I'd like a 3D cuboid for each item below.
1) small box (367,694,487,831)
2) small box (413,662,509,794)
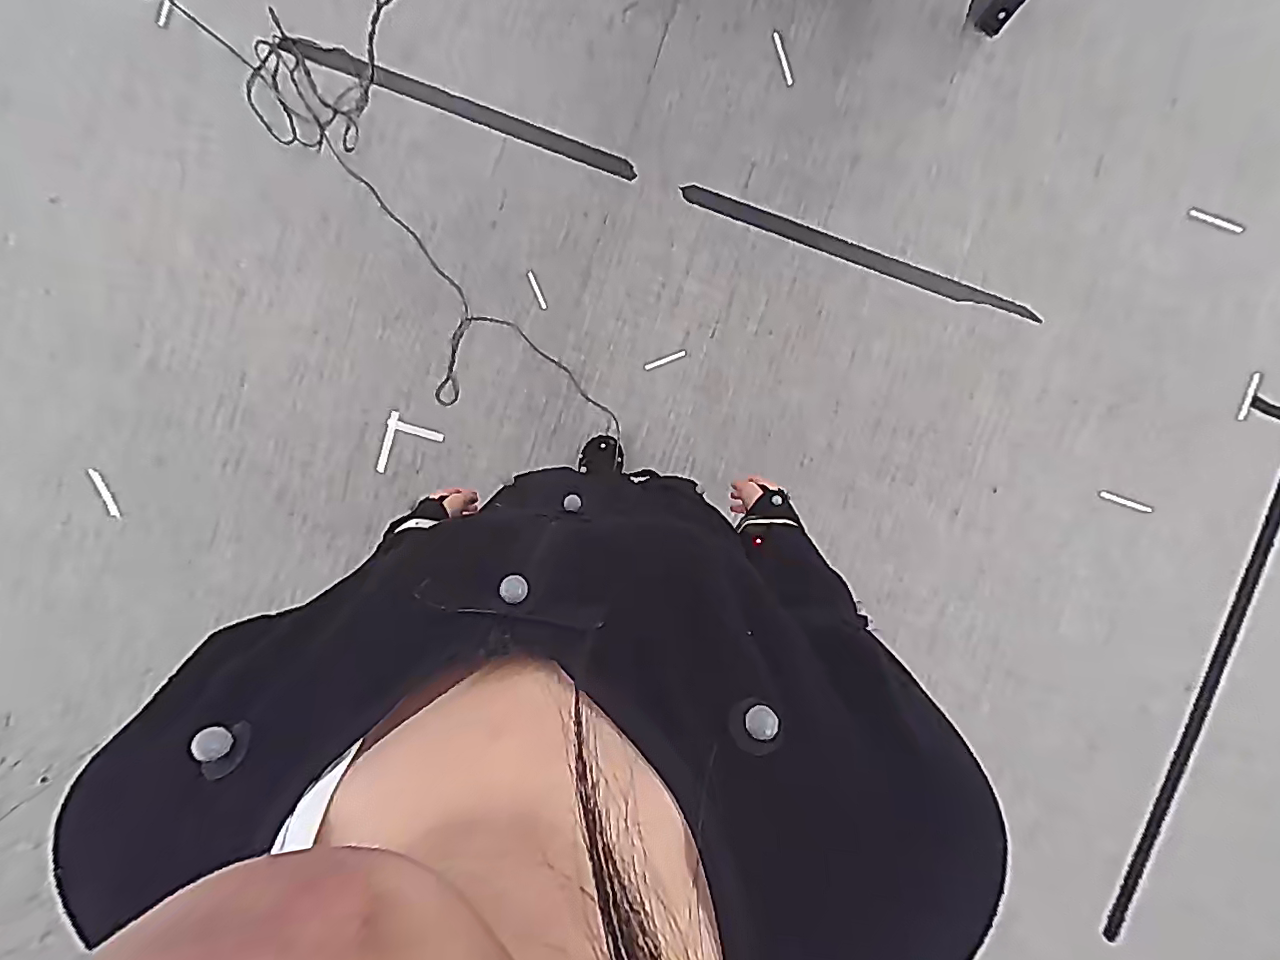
[{"bbox_3d":[-0.389,0.515,0.976,0.168,0.176,0.179,14,93,0],"label":"small box"},{"bbox_3d":[-0.388,0.514,1.138,0.168,0.176,0.179,16,92,-2],"label":"small box"}]
